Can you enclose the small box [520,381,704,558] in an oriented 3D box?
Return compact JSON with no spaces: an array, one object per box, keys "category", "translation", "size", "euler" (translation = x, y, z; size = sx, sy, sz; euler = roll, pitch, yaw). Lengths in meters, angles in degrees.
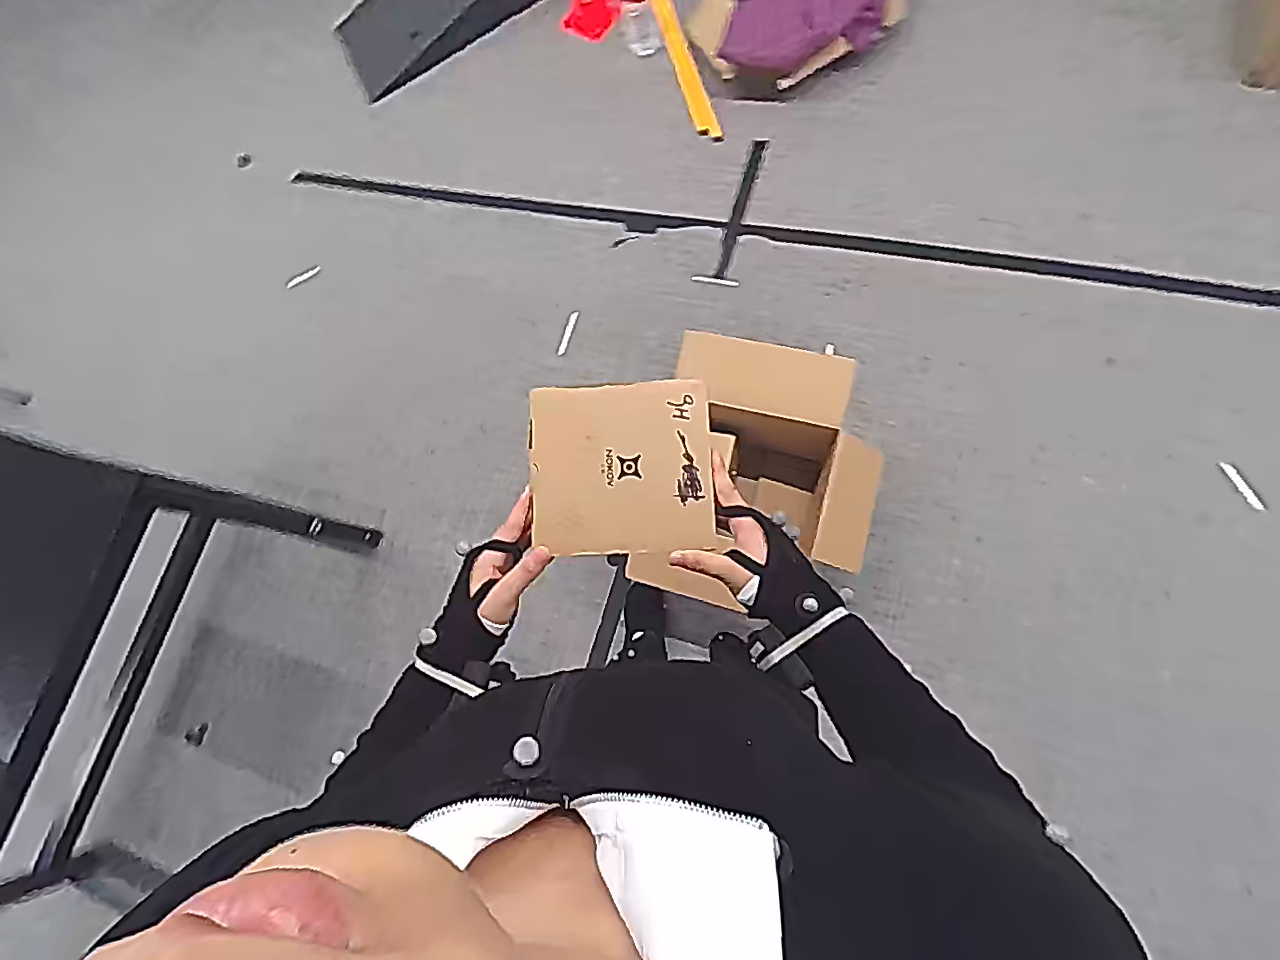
[{"category":"small box","translation":[-0.023,0.000,0.602],"size":[0.179,0.176,0.168],"euler":[-4,82,3]}]
